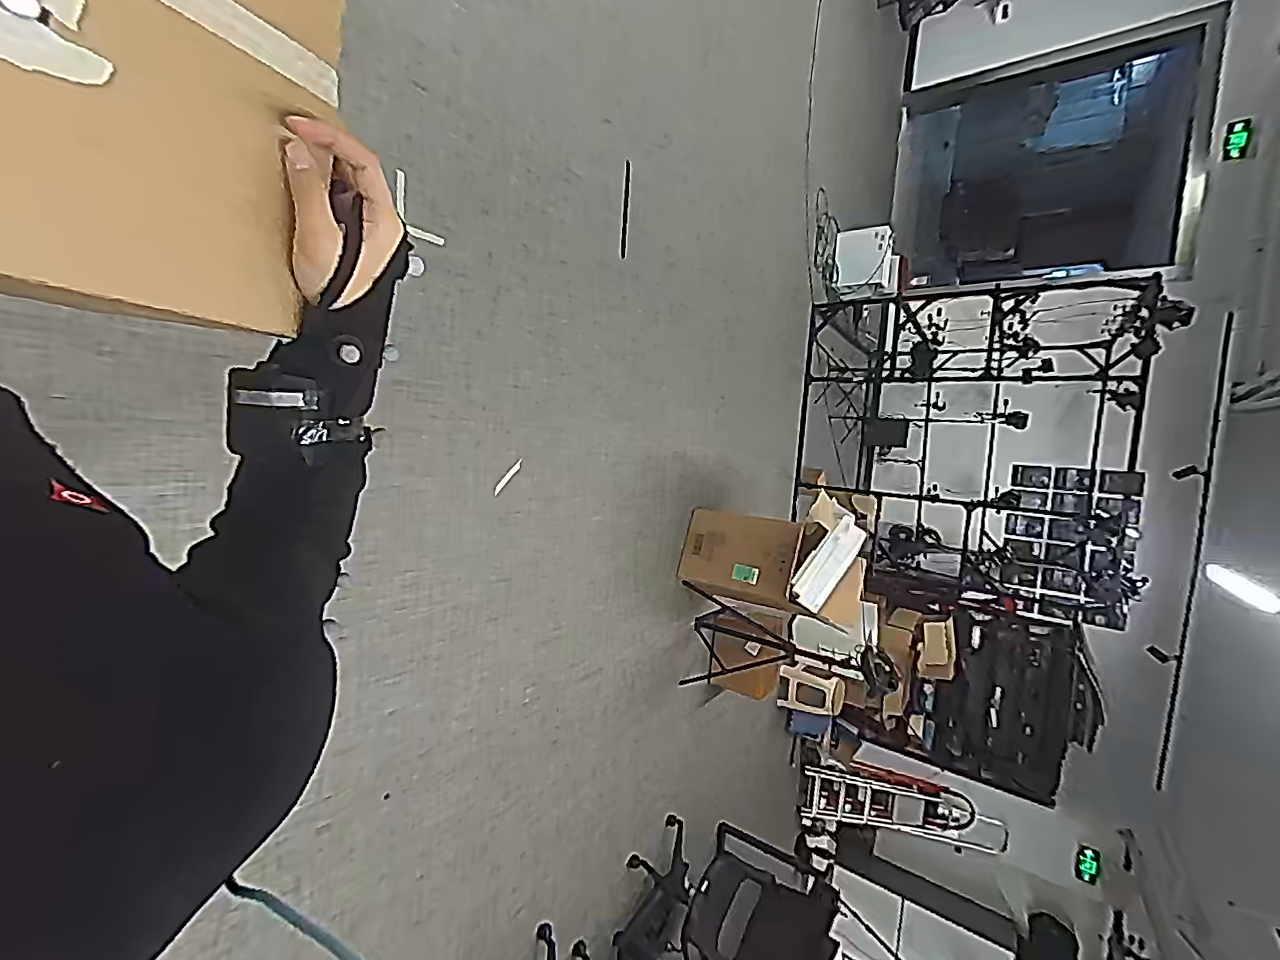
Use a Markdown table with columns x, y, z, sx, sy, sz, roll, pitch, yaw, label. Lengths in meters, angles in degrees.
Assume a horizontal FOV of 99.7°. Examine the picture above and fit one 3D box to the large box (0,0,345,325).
| x | y | z | sx | sy | sz | roll | pitch | yaw | label |
| --- | --- | --- | --- | --- | --- | --- | --- | --- | --- |
| -0.425 | -0.277 | 0.247 | 0.408 | 0.320 | 0.320 | -2 | 104 | -62 | large box |
